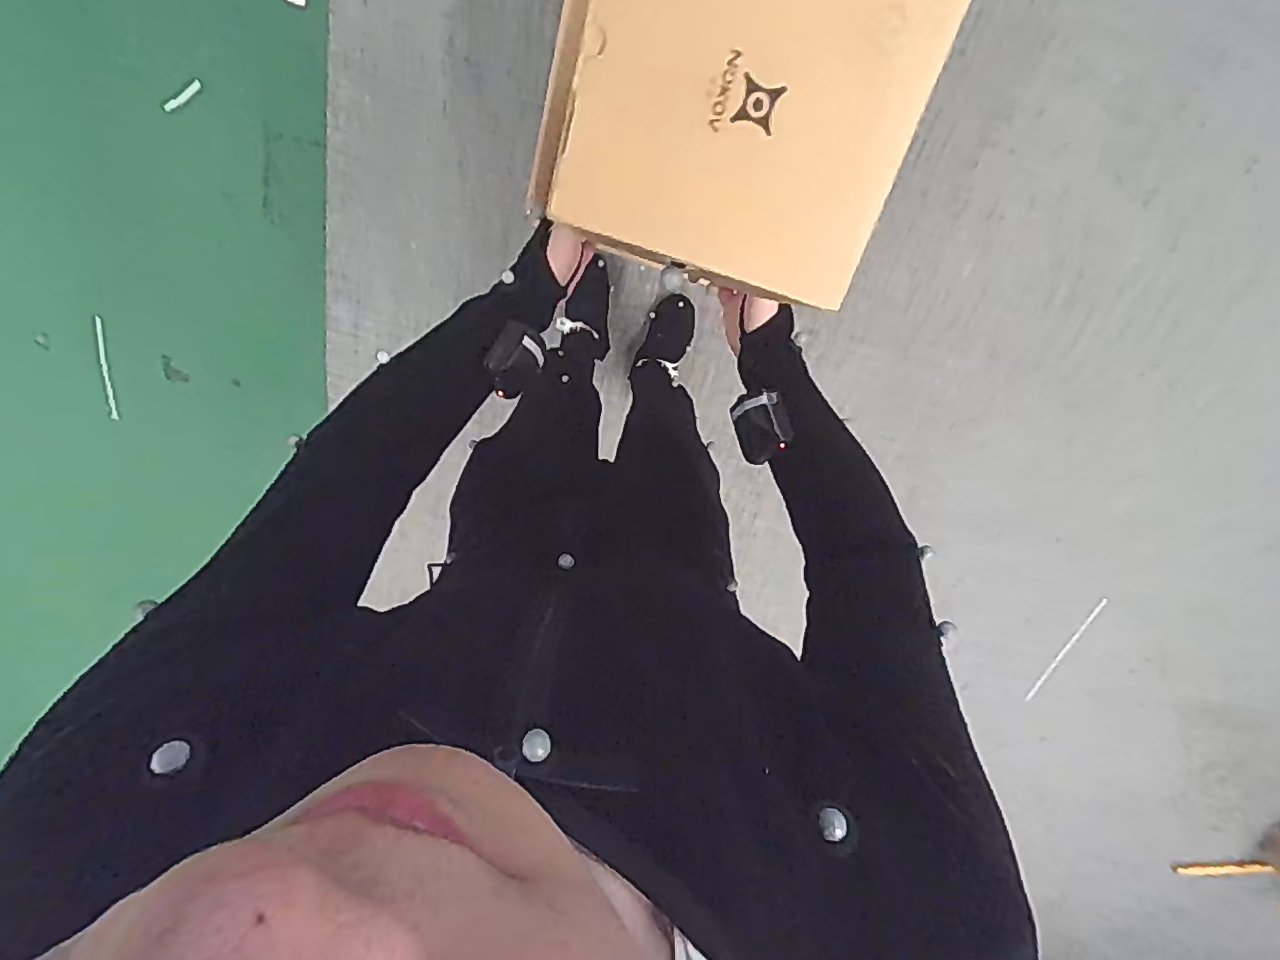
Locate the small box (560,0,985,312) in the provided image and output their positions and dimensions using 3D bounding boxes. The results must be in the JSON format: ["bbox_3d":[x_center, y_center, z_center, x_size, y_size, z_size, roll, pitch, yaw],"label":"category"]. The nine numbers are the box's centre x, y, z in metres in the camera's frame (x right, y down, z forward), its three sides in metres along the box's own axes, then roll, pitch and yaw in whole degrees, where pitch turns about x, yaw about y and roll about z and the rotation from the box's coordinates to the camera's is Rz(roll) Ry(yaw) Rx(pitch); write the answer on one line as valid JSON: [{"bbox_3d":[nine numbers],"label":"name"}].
[{"bbox_3d":[0.061,-0.224,0.349,0.179,0.176,0.168,16,112,-7],"label":"small box"}]
